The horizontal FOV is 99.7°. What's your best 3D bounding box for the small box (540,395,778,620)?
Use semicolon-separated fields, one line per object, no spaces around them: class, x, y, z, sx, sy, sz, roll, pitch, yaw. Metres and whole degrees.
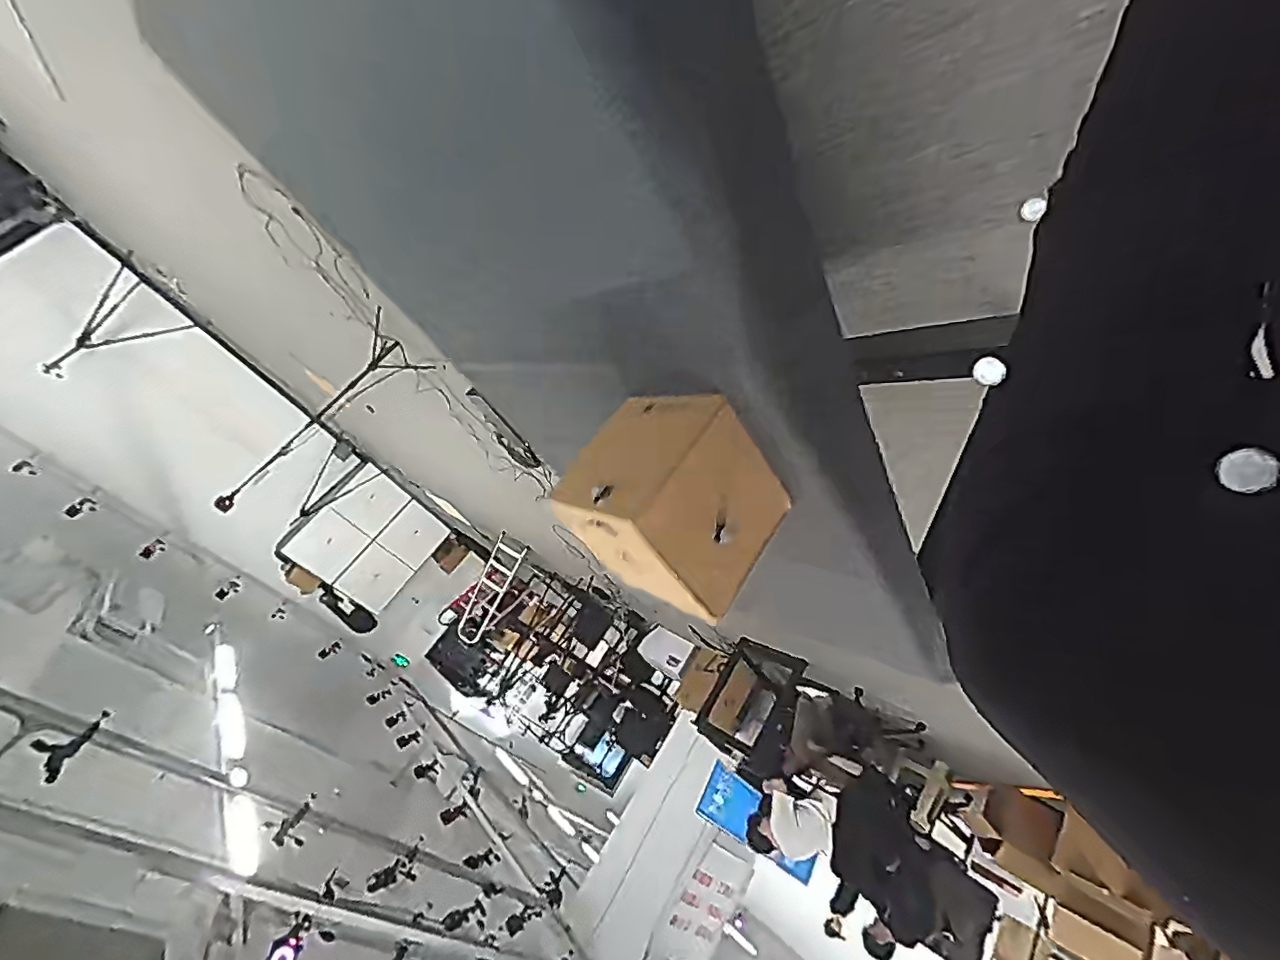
small box;0.028;0.024;0.617;0.168;0.176;0.179;10;146;51
